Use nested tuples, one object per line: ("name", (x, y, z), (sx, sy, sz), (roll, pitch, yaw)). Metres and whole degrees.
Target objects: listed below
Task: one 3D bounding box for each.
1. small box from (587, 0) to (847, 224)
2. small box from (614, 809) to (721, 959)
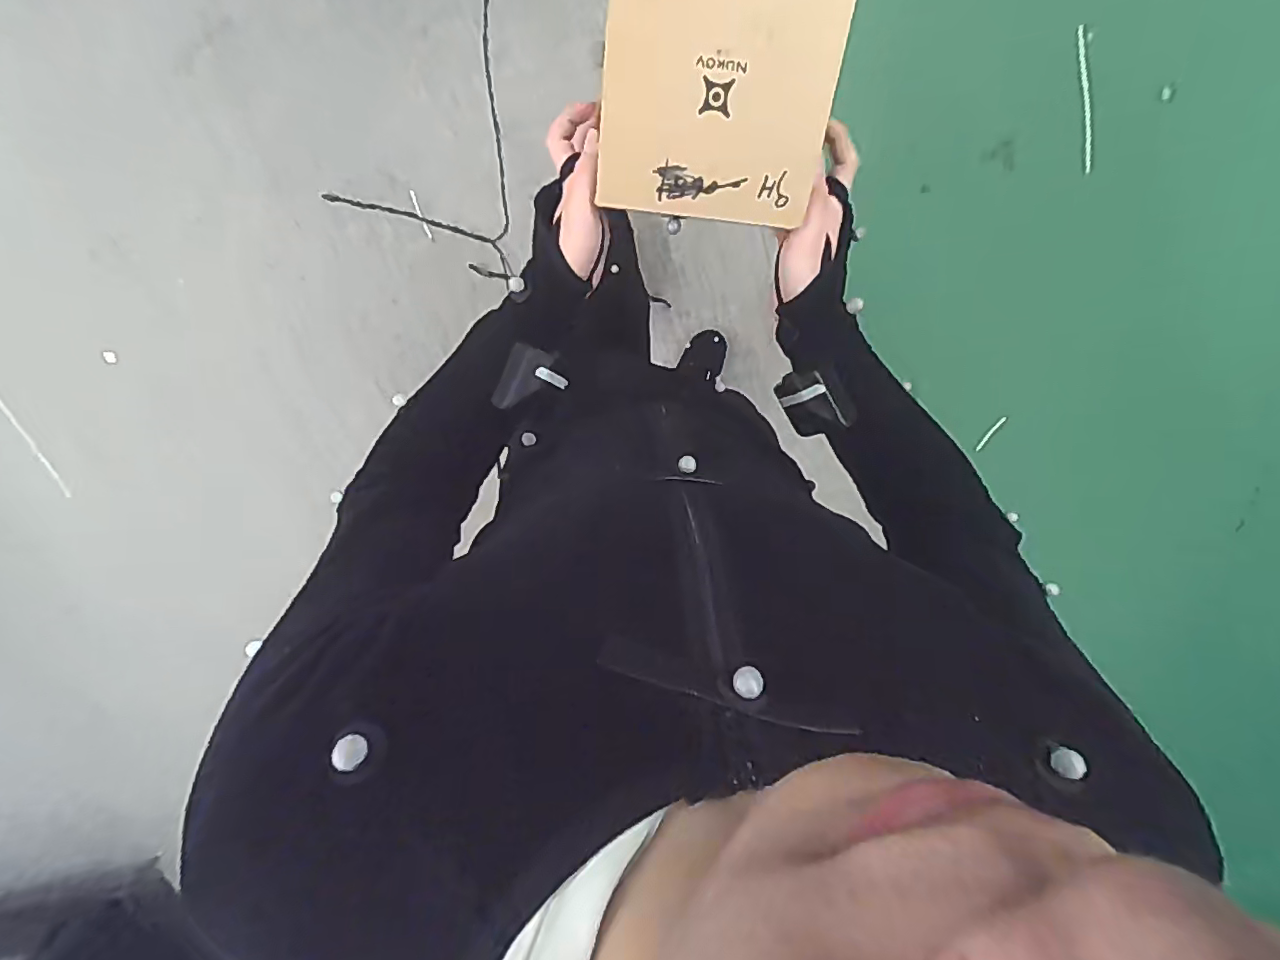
("small box", (0.048, -0.315, 0.441), (0.168, 0.176, 0.179), (5, 117, -3))
("small box", (0.057, 0.770, 1.032), (0.168, 0.176, 0.179), (-11, 107, 7))
